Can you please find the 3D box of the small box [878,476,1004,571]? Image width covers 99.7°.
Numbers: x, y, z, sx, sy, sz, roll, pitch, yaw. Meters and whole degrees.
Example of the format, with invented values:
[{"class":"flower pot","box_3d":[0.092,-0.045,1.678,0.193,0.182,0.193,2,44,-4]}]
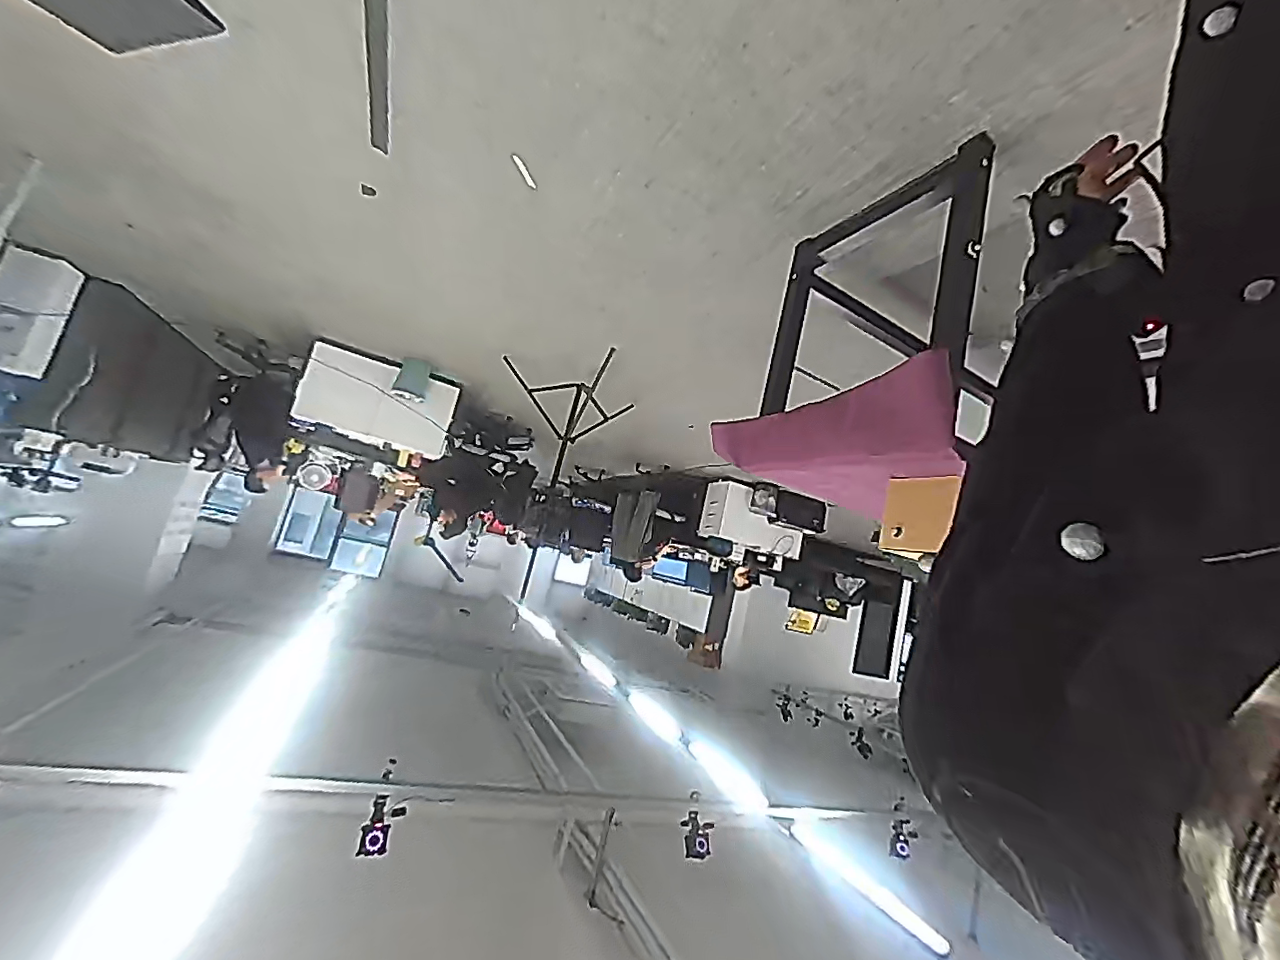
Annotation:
[{"class":"small box","box_3d":[0.662,0.093,1.188,0.168,0.176,0.179,16,171,-24]}]
